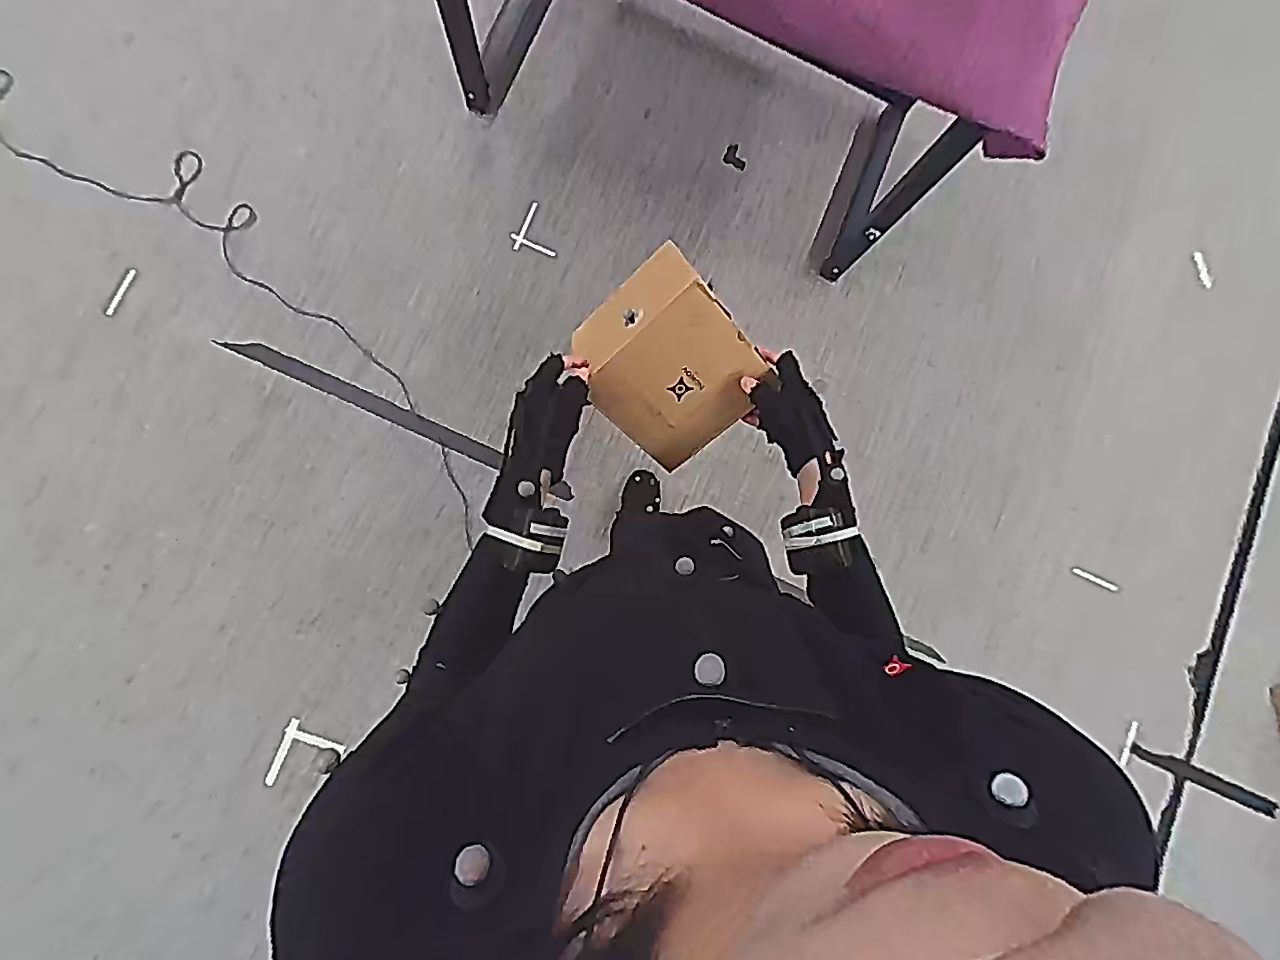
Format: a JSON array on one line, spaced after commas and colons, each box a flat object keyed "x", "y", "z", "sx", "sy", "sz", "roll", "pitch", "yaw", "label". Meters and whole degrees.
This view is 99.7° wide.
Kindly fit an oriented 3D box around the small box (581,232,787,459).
[{"x": 0.040, "y": -0.167, "z": 0.655, "sx": 0.179, "sy": 0.176, "sz": 0.168, "roll": -39, "pitch": 121, "yaw": 19, "label": "small box"}]
